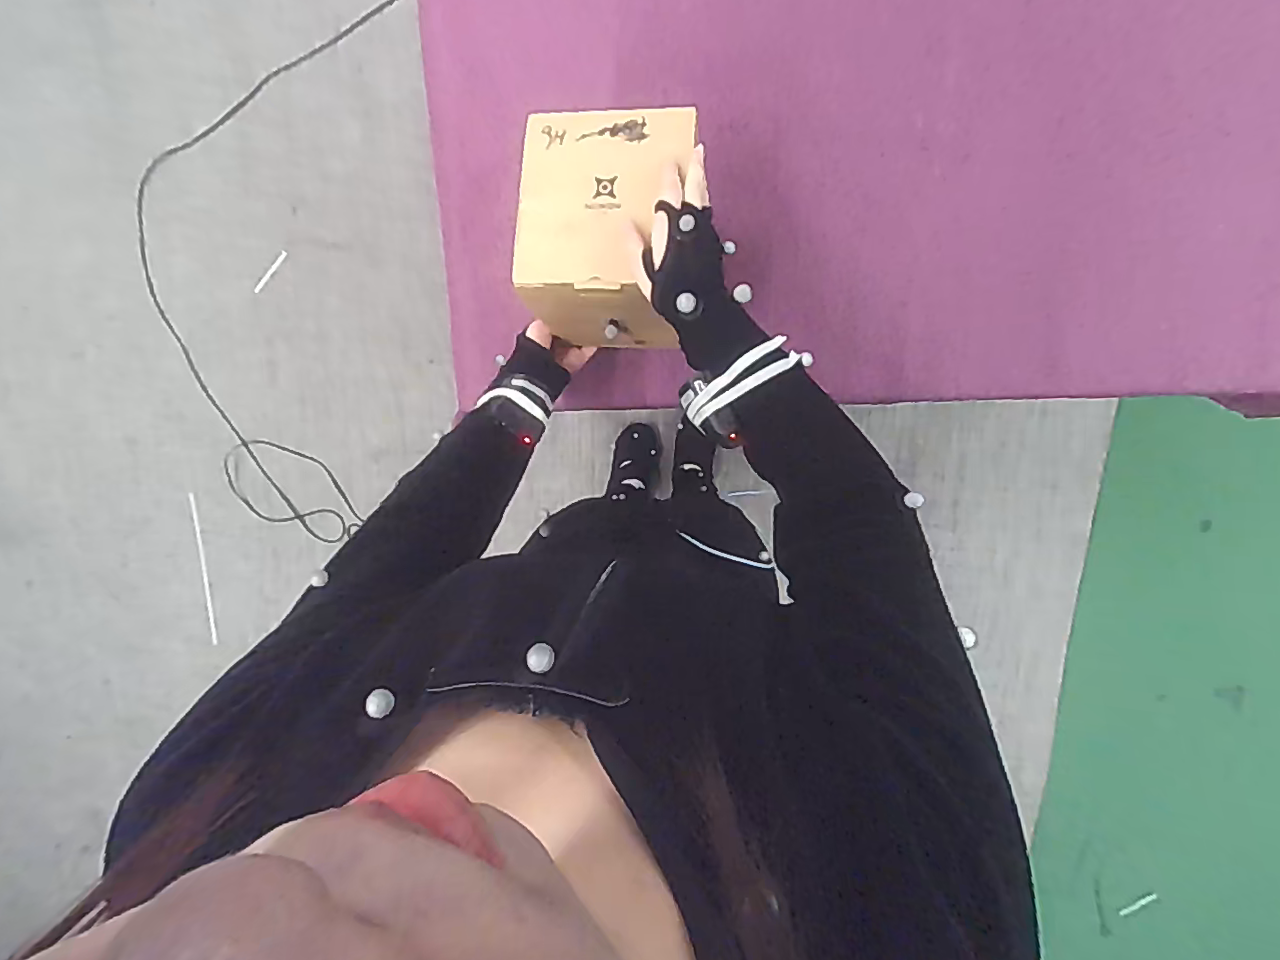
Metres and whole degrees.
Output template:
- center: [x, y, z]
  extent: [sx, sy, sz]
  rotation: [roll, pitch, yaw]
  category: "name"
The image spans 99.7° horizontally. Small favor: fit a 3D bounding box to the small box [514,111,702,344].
- center: [-0.023, -0.256, 0.586]
  extent: [0.168, 0.176, 0.179]
  rotation: [5, 86, 7]
  category: "small box"
